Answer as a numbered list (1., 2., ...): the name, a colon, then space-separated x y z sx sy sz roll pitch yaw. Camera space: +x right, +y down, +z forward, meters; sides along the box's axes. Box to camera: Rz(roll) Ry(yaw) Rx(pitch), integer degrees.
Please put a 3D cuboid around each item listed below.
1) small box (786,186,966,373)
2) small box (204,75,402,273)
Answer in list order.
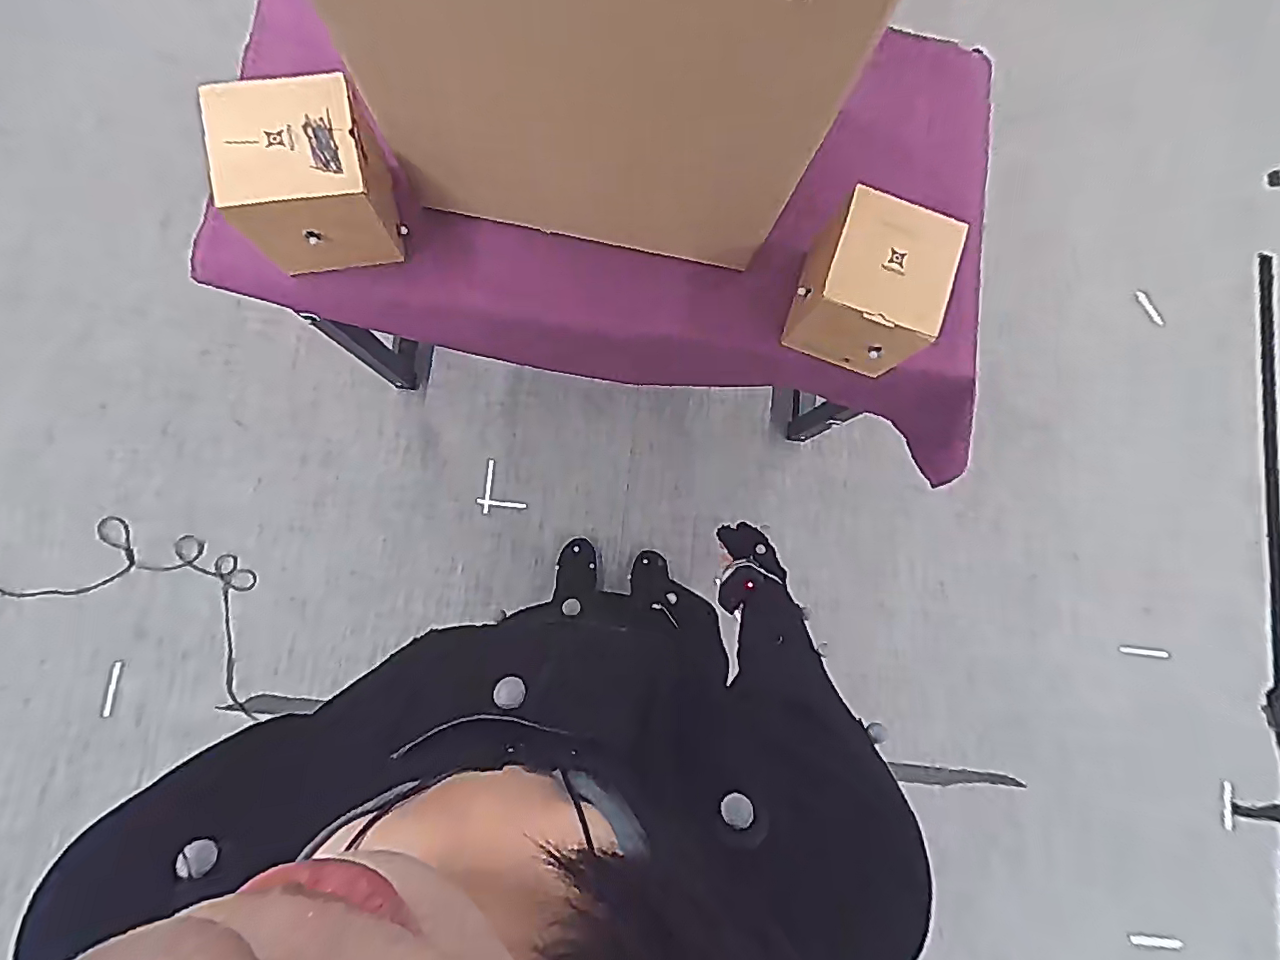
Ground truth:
1. small box: 0.333 -0.280 0.797 0.168 0.176 0.179 19 81 -3
2. small box: -0.444 -0.408 0.744 0.179 0.176 0.168 -11 84 -7
